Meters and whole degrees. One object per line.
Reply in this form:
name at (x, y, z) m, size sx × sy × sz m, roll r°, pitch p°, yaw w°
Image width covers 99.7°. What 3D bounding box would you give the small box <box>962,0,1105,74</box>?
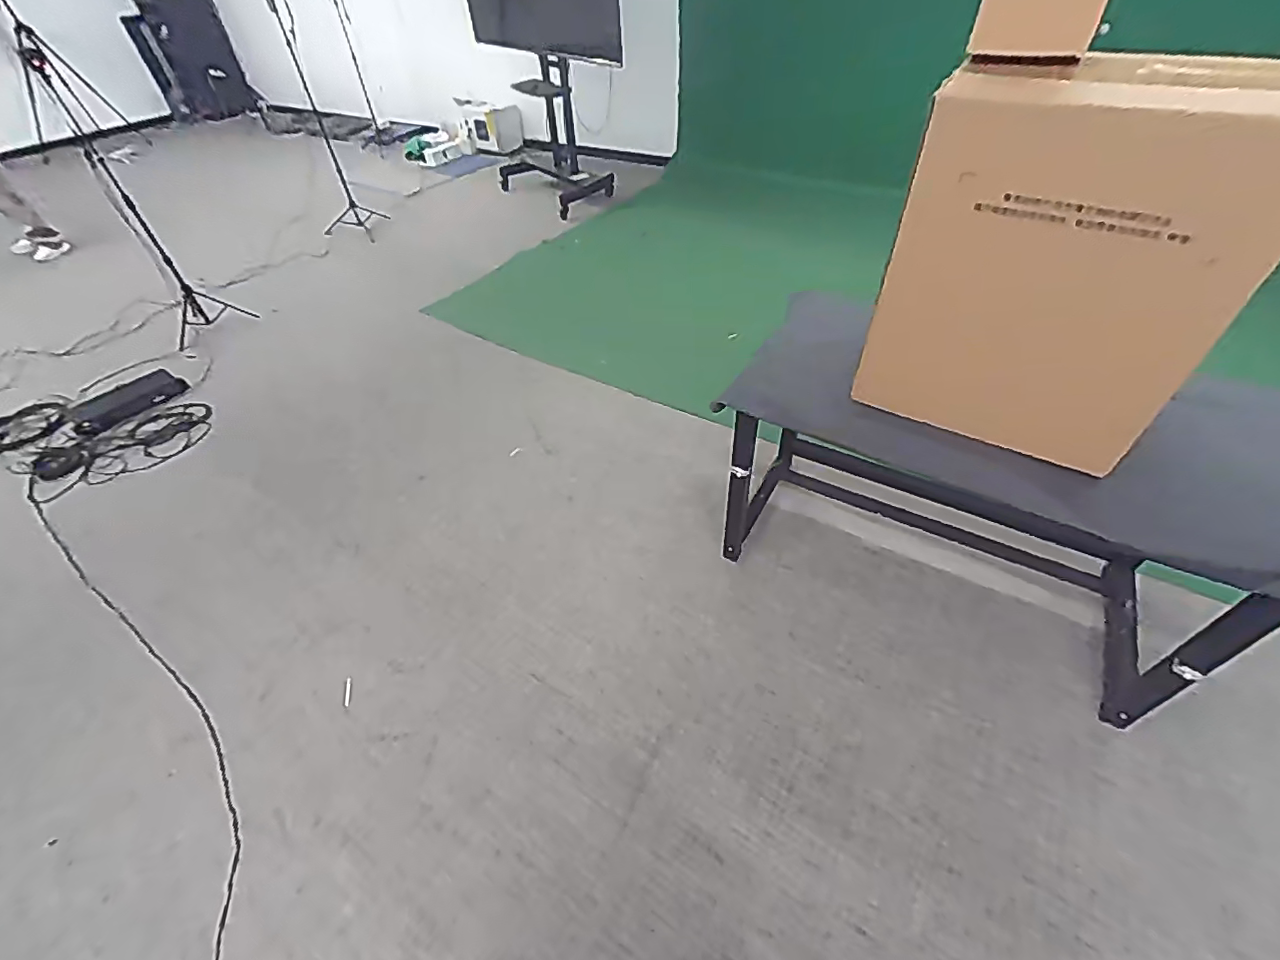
small box at (0.671, -0.793, 0.907) m, size 0.179 × 0.176 × 0.168 m, roll 23°, pitch 44°, yaw 22°
